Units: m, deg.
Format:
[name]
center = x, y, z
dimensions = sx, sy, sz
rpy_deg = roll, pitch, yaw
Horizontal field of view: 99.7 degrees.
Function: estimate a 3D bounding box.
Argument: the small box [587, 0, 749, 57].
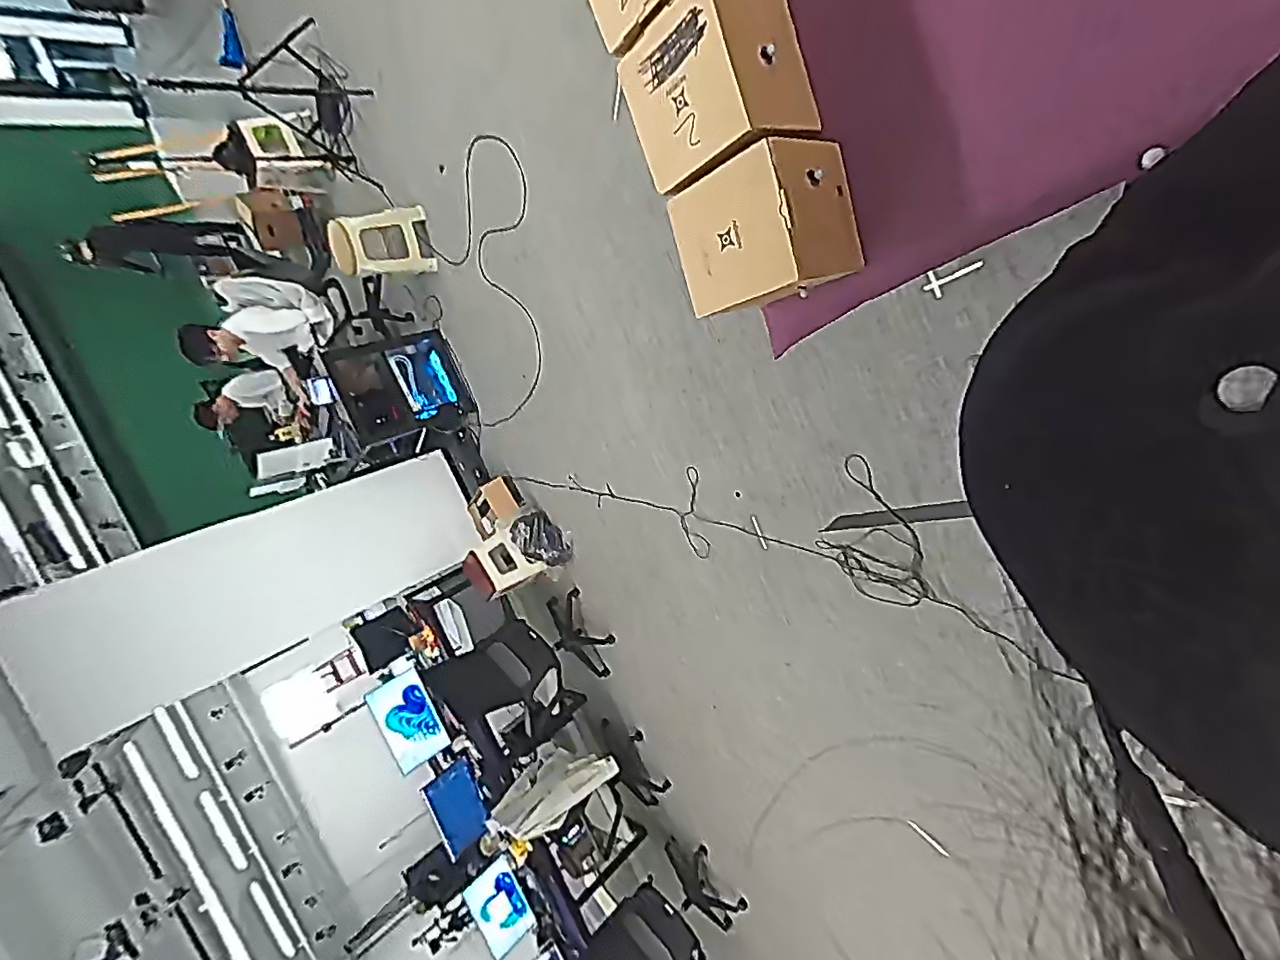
[small box]
center = 0.033, -0.682, 0.684
dimensions = 0.168, 0.176, 0.179
rpy_deg = -9, 106, 52
